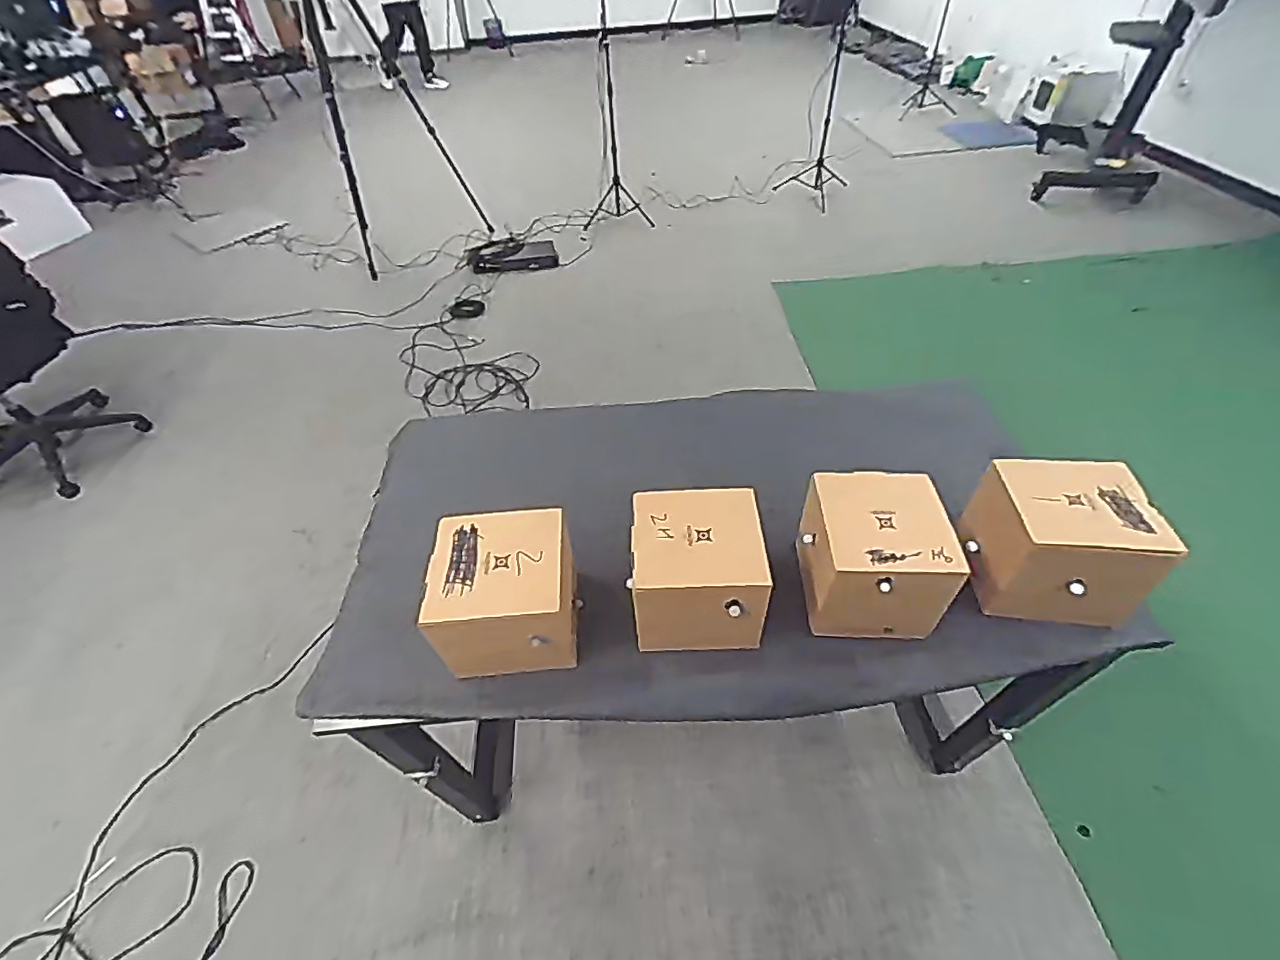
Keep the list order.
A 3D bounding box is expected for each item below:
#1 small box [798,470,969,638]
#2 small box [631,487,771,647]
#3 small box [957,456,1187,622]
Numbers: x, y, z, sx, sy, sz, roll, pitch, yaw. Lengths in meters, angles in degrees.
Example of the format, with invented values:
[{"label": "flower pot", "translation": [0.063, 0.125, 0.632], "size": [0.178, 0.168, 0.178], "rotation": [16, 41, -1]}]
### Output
[{"label": "small box", "translation": [0.331, 0.105, 0.781], "size": [0.168, 0.176, 0.179], "rotation": [1, 46, 5]}, {"label": "small box", "translation": [0.081, 0.127, 0.779], "size": [0.179, 0.176, 0.168], "rotation": [-3, 46, 3]}, {"label": "small box", "translation": [0.592, 0.086, 0.773], "size": [0.179, 0.176, 0.168], "rotation": [3, 45, 9]}]
